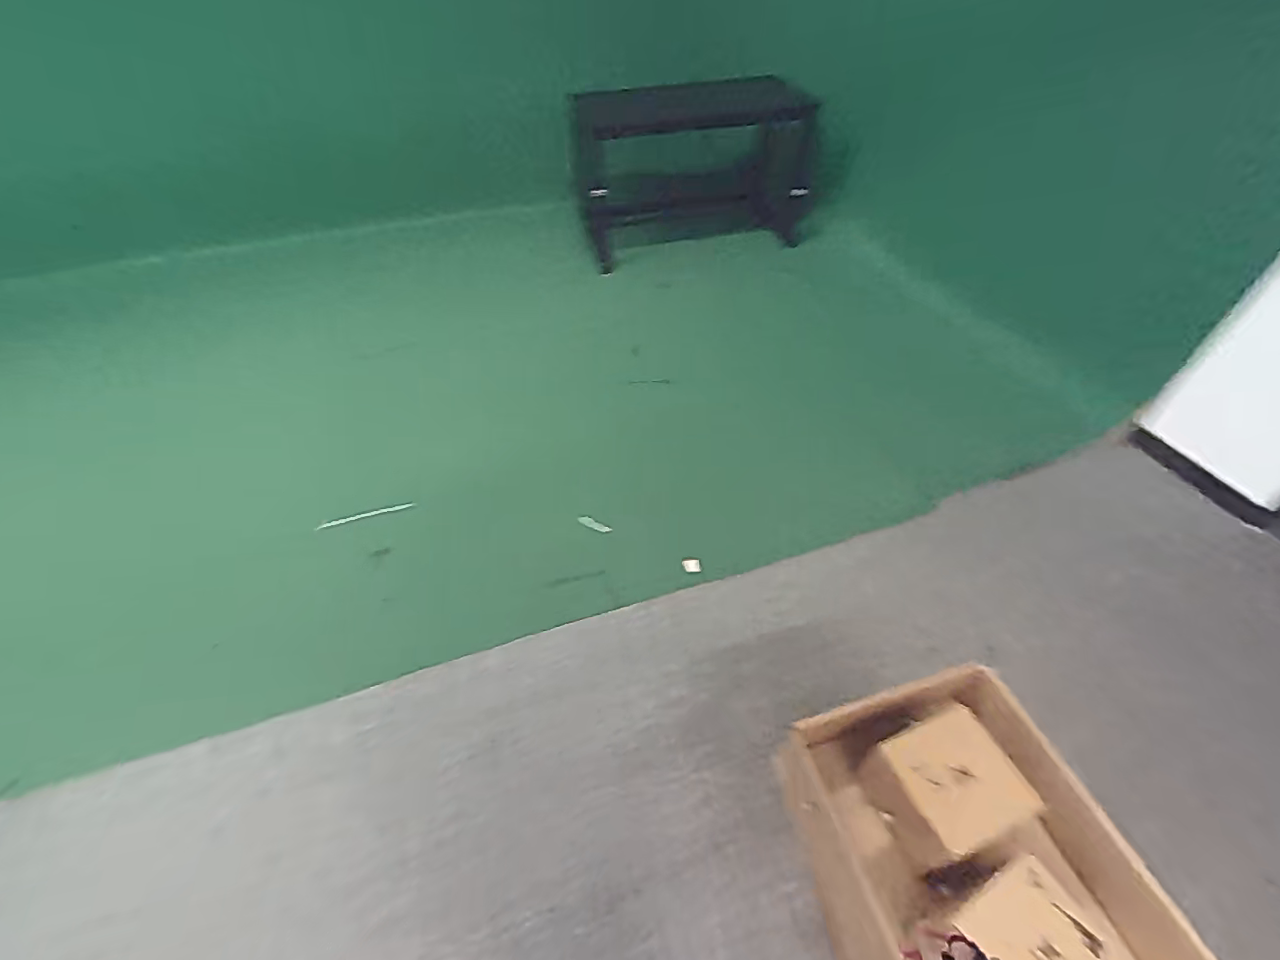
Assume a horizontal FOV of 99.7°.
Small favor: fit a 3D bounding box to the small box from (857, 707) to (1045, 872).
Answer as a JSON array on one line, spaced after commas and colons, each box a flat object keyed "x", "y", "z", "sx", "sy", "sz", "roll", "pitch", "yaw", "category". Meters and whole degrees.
[{"x": 0.490, "y": 0.506, "z": 0.883, "sx": 0.179, "sy": 0.176, "sz": 0.168, "roll": -16, "pitch": 49, "yaw": -13, "category": "small box"}]

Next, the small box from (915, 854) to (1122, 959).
[{"x": 0.512, "y": 0.660, "z": 0.743, "sx": 0.179, "sy": 0.176, "sz": 0.168, "roll": -23, "pitch": 51, "yaw": -18, "category": "small box"}]
